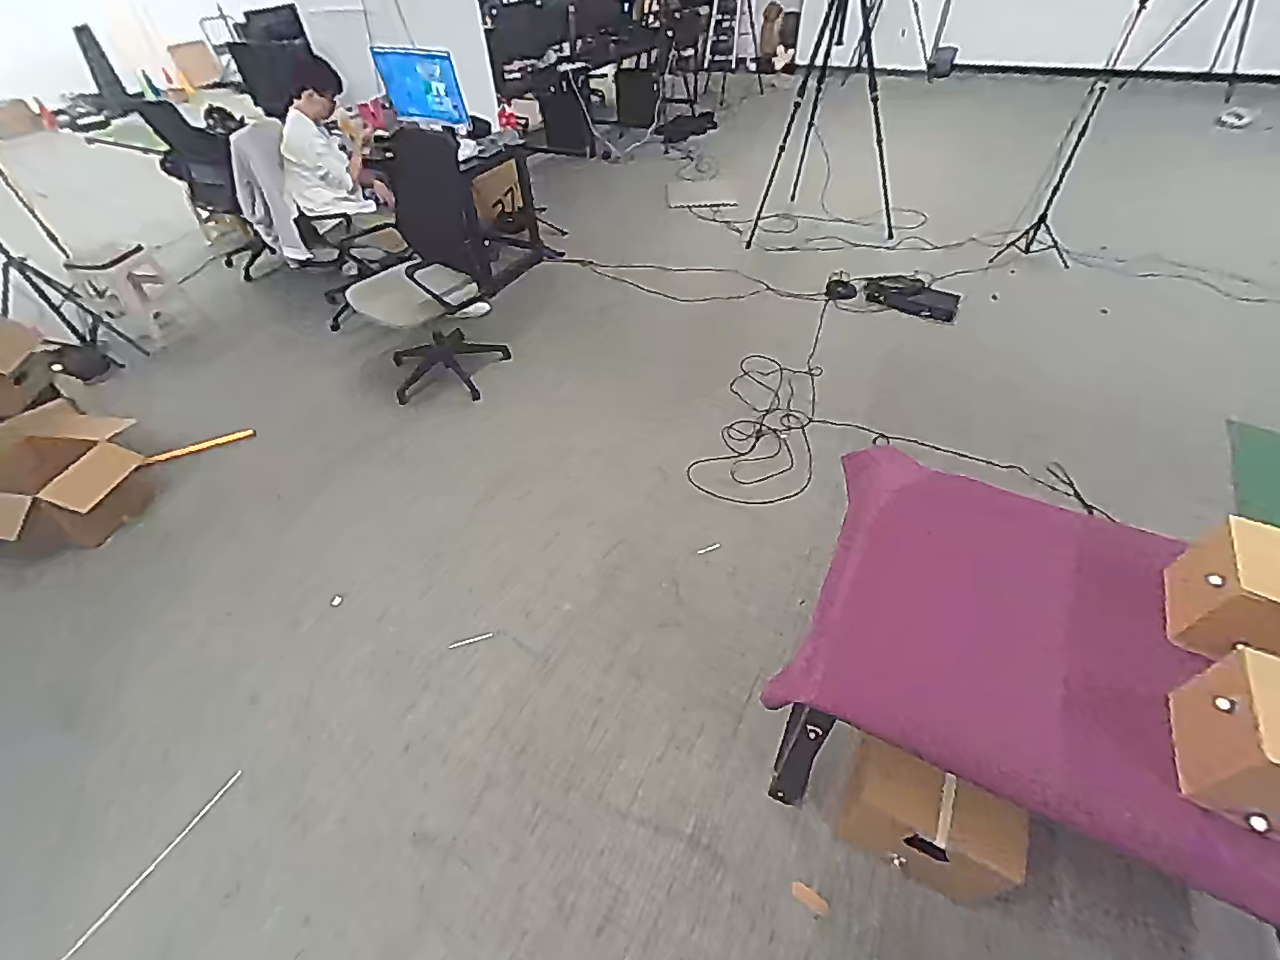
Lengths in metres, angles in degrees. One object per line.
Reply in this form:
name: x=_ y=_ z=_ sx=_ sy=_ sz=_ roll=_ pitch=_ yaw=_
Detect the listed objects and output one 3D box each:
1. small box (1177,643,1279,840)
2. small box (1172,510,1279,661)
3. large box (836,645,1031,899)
small box: x=0.870 y=0.360 z=0.721 sx=0.168 sy=0.176 sz=0.179 roll=21 pitch=51 yaw=23
small box: x=1.017 y=0.187 z=0.877 sx=0.168 sy=0.176 sz=0.179 roll=22 pitch=53 yaw=22
large box: x=0.708 y=0.702 z=1.321 sx=0.320 sy=0.320 sz=0.408 roll=21 pitch=50 yaw=21
